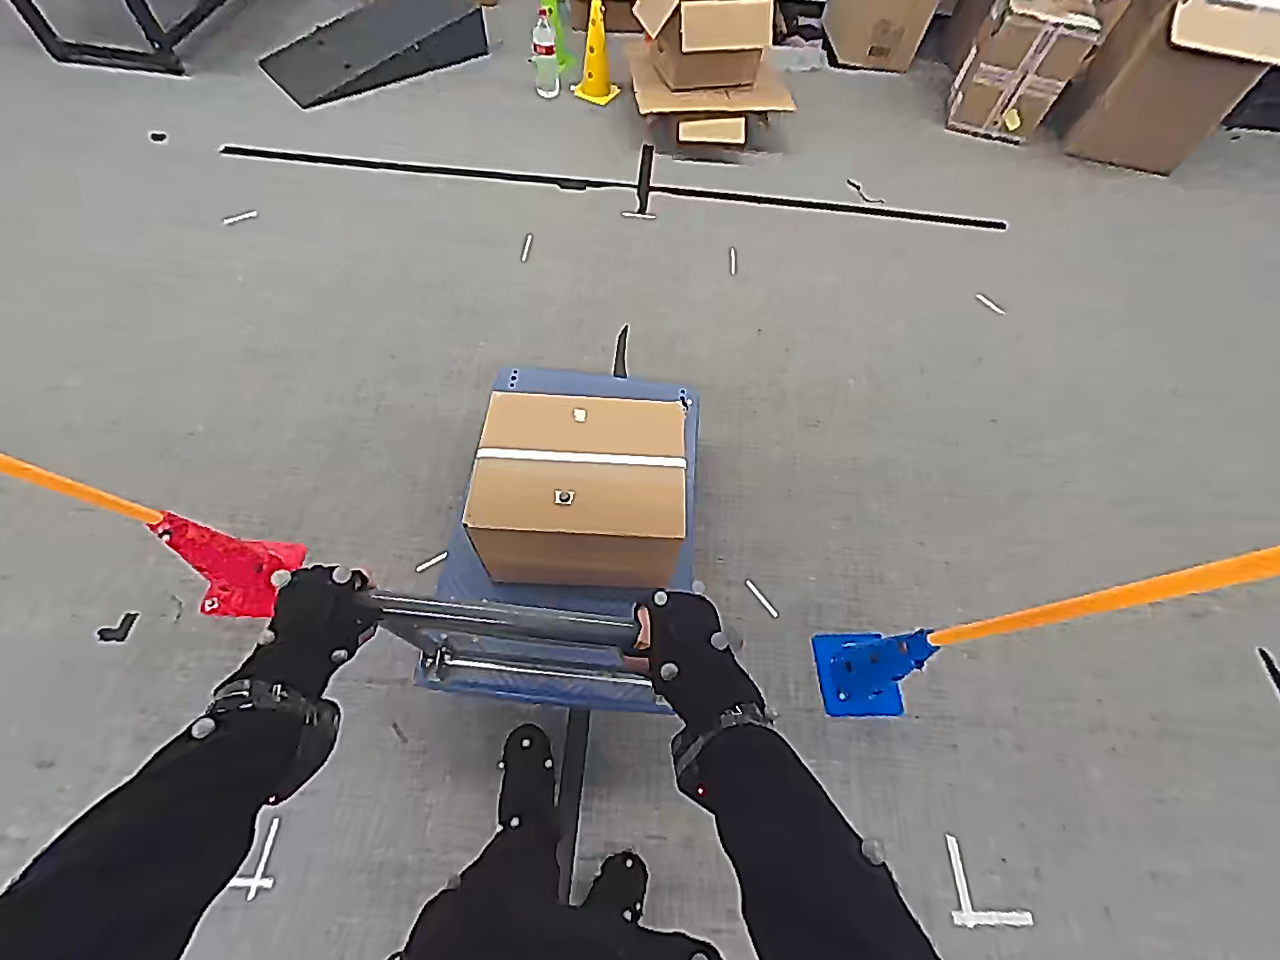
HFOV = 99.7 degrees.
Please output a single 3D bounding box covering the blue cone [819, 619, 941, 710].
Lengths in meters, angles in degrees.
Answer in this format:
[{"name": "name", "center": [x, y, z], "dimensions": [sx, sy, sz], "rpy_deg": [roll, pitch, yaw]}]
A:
[{"name": "blue cone", "center": [0.568, 0.395, 1.222], "dimensions": [0.193, 0.380, 0.192], "rpy_deg": [2, 59, -4]}]
